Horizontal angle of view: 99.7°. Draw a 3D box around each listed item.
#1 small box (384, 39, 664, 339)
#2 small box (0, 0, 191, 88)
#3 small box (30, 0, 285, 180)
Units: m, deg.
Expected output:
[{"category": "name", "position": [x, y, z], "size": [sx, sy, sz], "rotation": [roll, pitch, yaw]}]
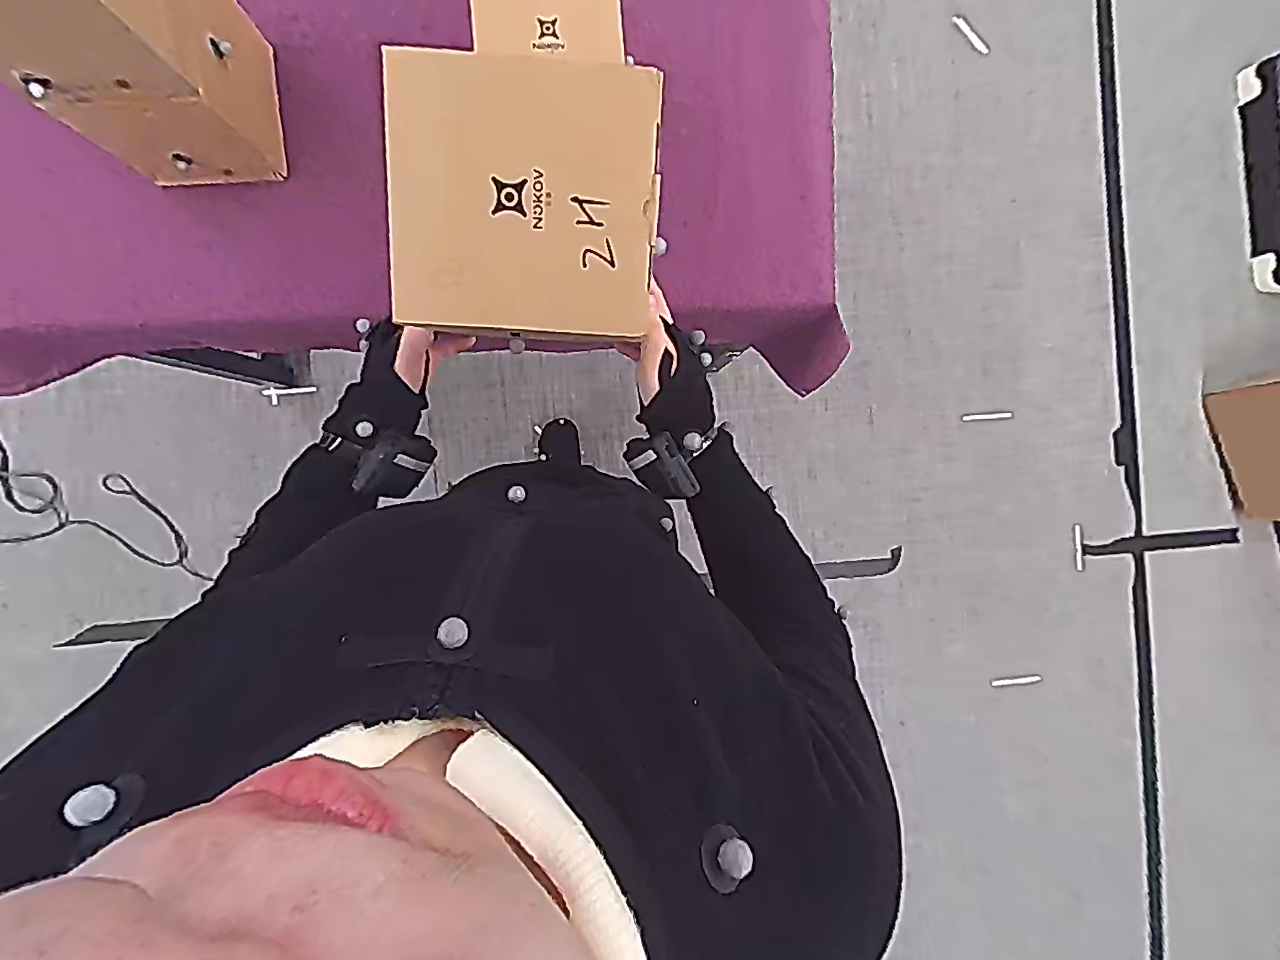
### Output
[{"category": "small box", "position": [-0.080, -0.204, 0.430], "size": [0.179, 0.176, 0.168], "rotation": [3, 103, -3]}, {"category": "small box", "position": [-0.540, -0.477, 0.471], "size": [0.168, 0.176, 0.179], "rotation": [-7, 93, -5]}, {"category": "small box", "position": [-0.553, -0.483, 0.635], "size": [0.168, 0.176, 0.179], "rotation": [-5, 94, -5]}]
